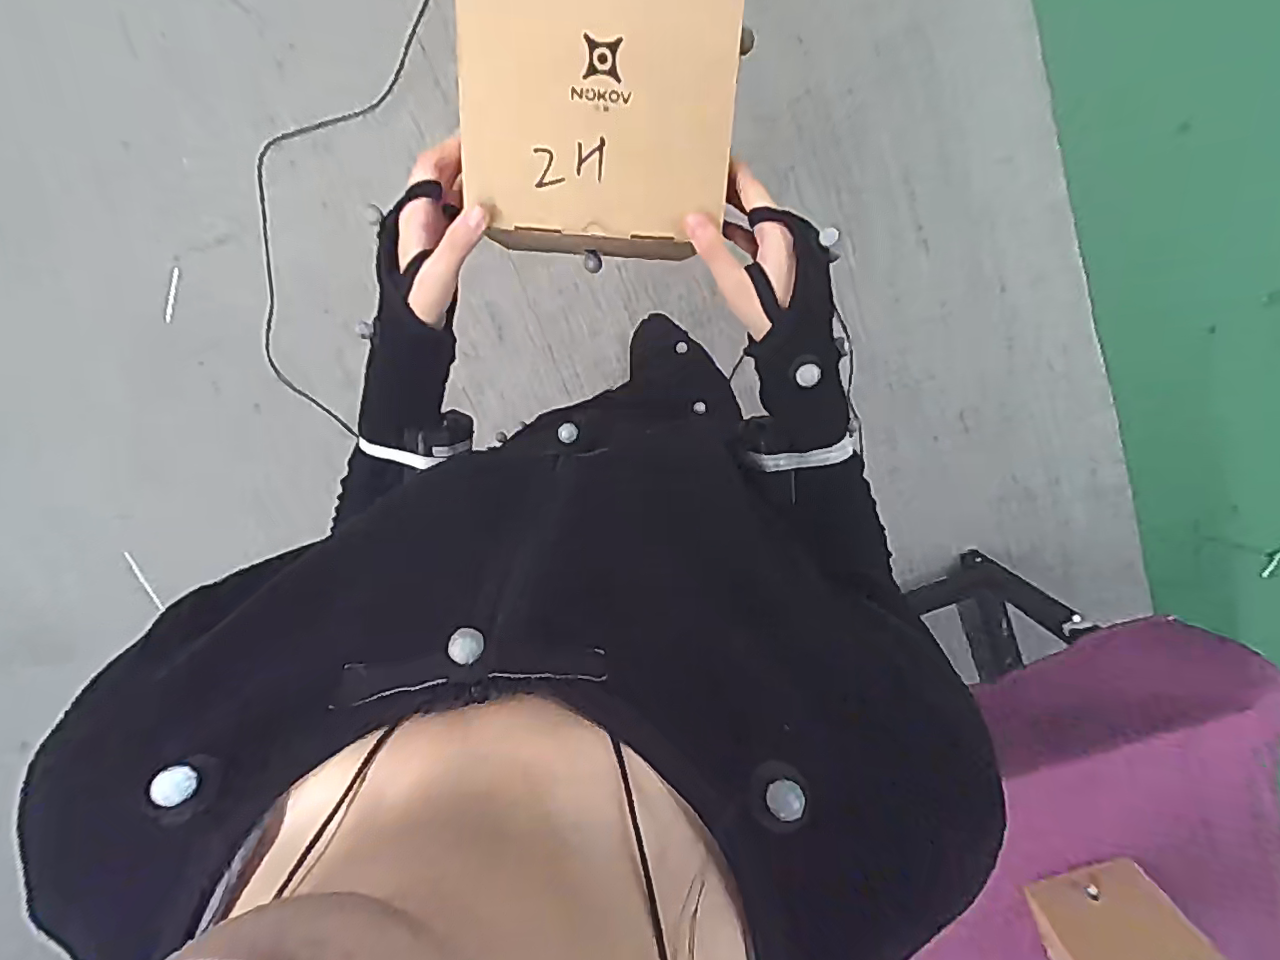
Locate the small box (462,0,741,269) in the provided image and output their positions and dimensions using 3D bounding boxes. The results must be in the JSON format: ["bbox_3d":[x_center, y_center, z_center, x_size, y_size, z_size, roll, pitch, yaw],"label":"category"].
[{"bbox_3d":[-0.031,-0.263,0.405,0.168,0.176,0.179,3,108,-5],"label":"small box"}]

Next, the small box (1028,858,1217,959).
[{"bbox_3d":[0.747,0.740,0.840,0.179,0.176,0.168,-24,102,8],"label":"small box"}]
